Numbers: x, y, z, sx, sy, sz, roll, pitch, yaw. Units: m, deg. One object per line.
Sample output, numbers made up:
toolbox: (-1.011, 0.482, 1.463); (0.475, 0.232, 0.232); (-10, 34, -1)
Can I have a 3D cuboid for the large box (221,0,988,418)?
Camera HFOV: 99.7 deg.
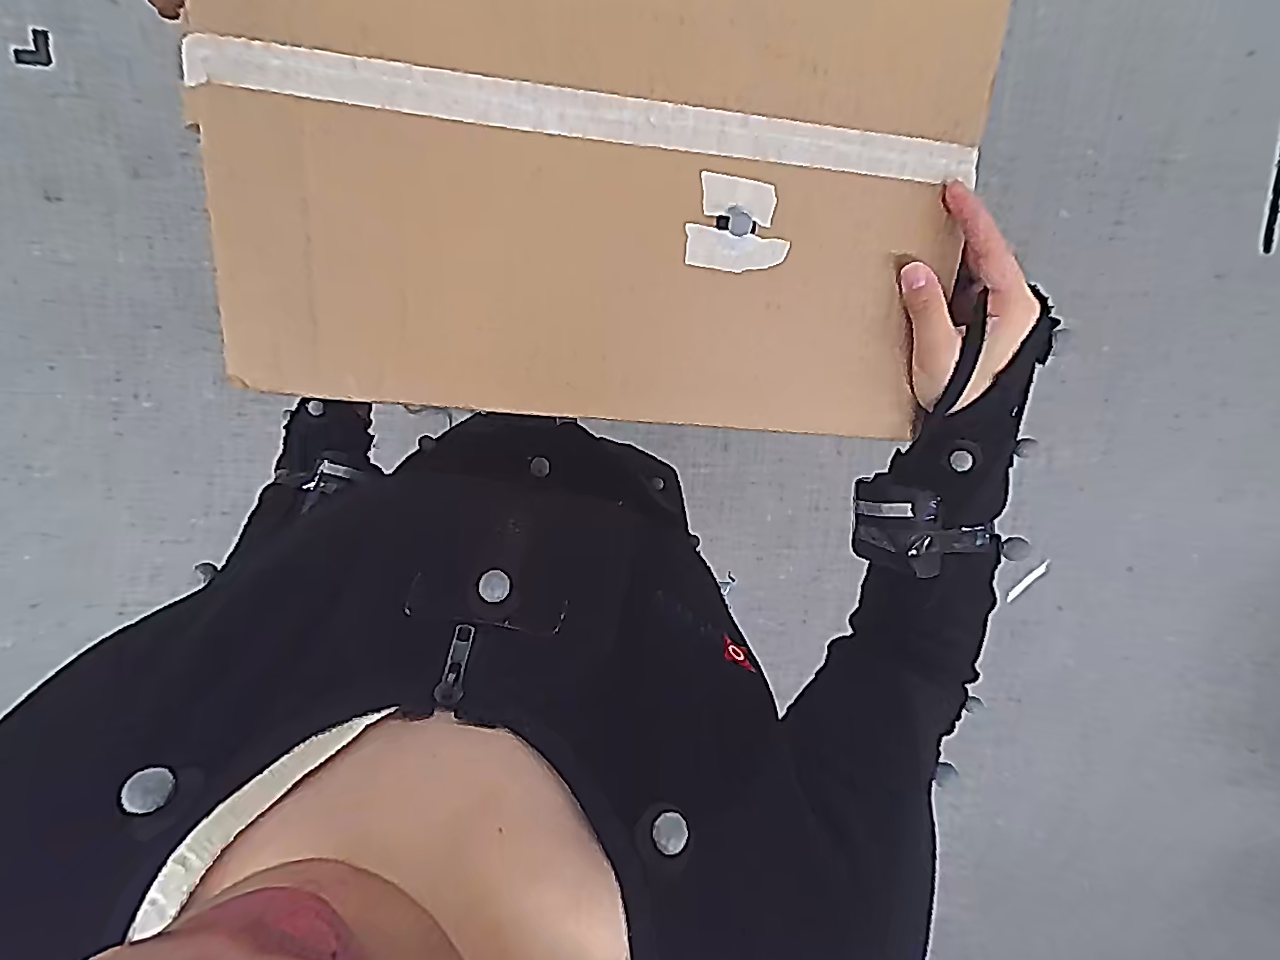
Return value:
large box: (-0.029, -0.231, 0.437); (0.408, 0.320, 0.320); (3, 105, -8)
